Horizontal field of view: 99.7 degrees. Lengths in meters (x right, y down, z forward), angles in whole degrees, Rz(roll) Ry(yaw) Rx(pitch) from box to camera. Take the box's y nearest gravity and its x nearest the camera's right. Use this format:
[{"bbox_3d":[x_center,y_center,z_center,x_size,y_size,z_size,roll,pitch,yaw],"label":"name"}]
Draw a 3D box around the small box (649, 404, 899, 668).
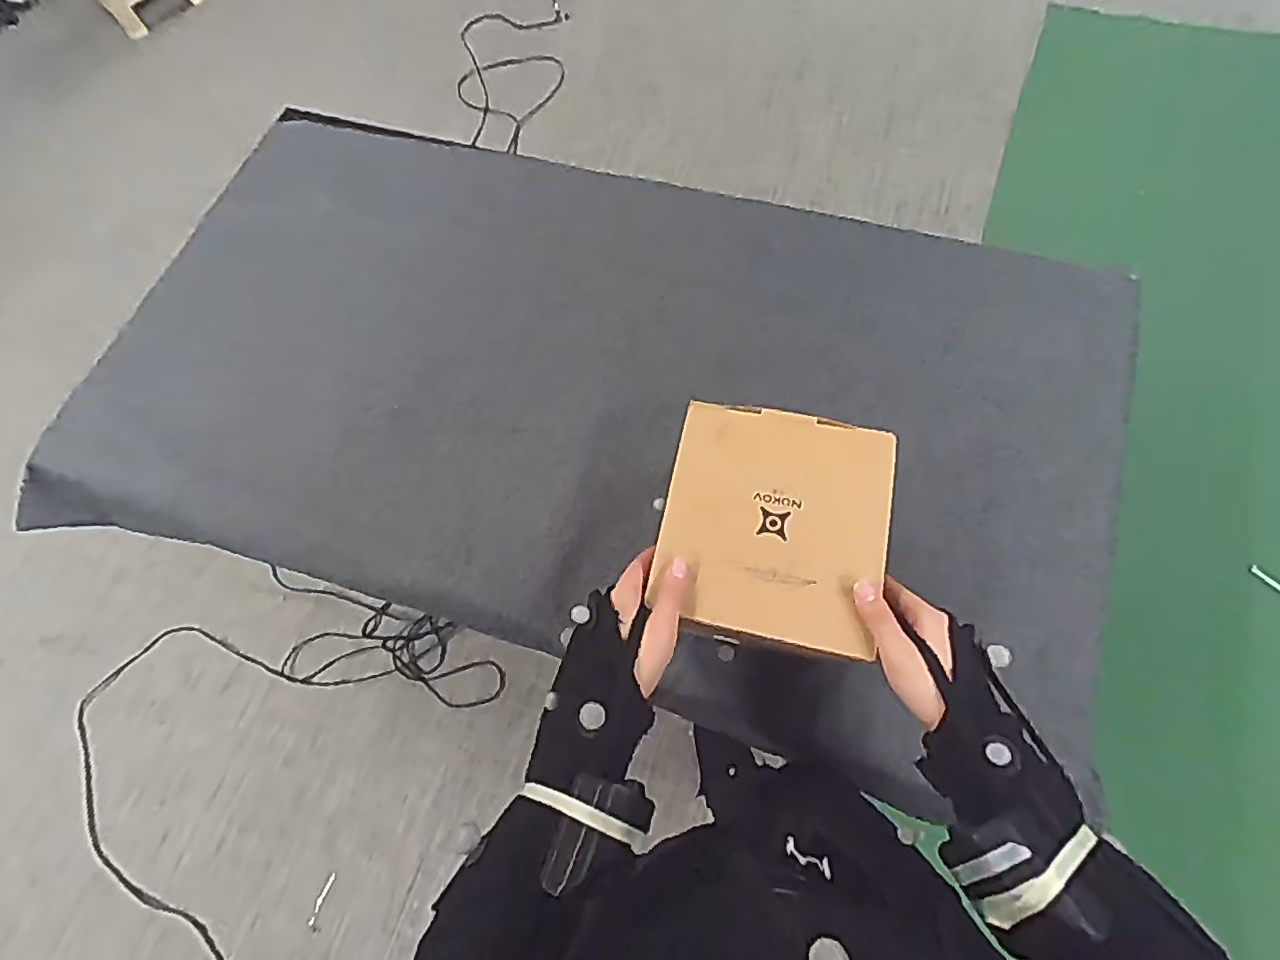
[{"bbox_3d":[0.110,0.059,0.478,0.168,0.176,0.179,10,72,10],"label":"small box"}]
